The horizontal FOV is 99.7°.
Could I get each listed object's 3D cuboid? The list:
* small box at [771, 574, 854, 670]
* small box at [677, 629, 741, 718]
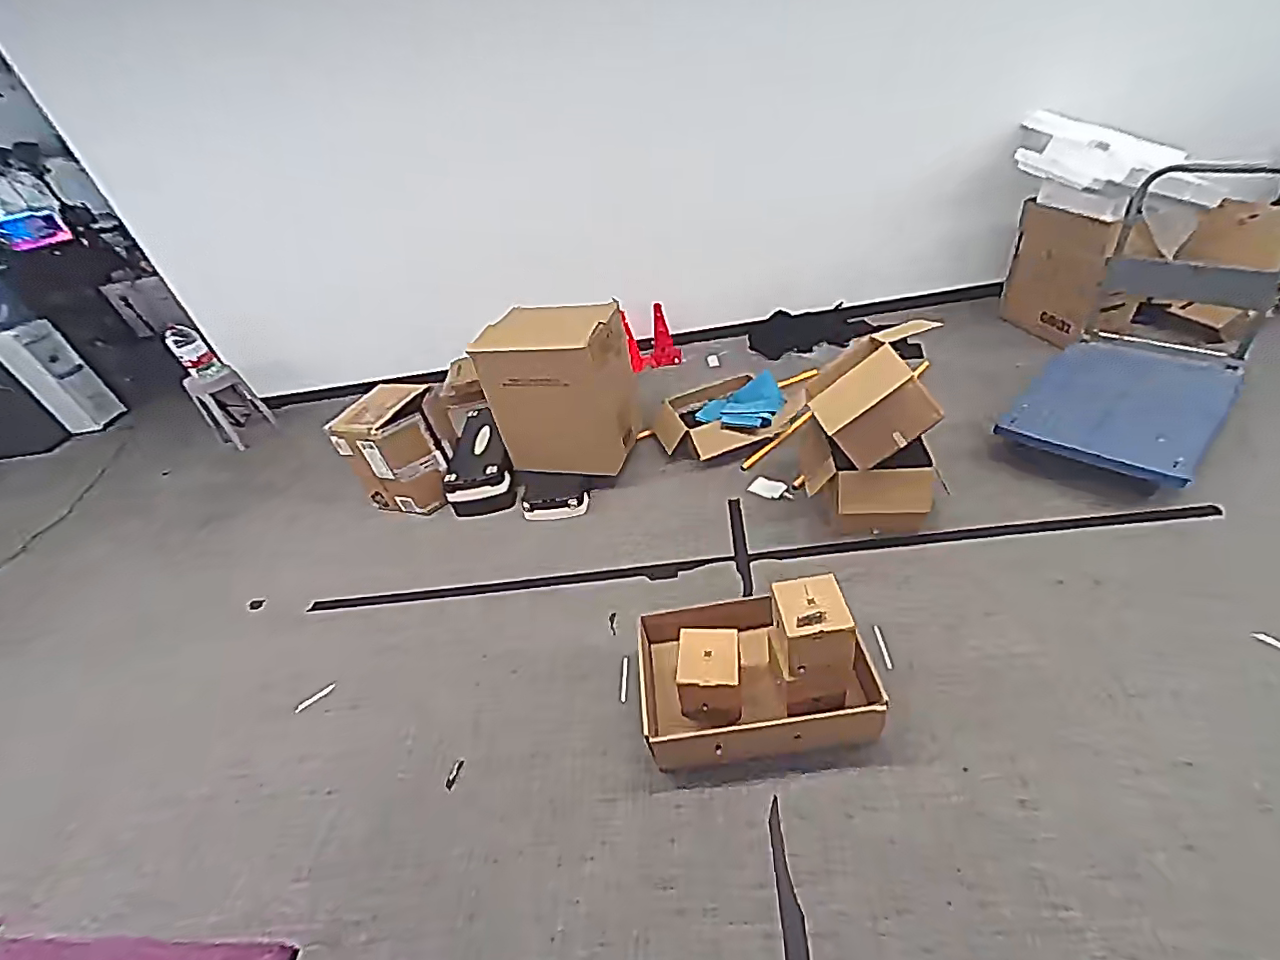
[{"bbox_3d":[0.444,0.375,1.406,0.168,0.176,0.179,-10,37,4],"label":"small box"},{"bbox_3d":[0.199,0.546,1.533,0.168,0.176,0.179,-3,39,11],"label":"small box"}]
